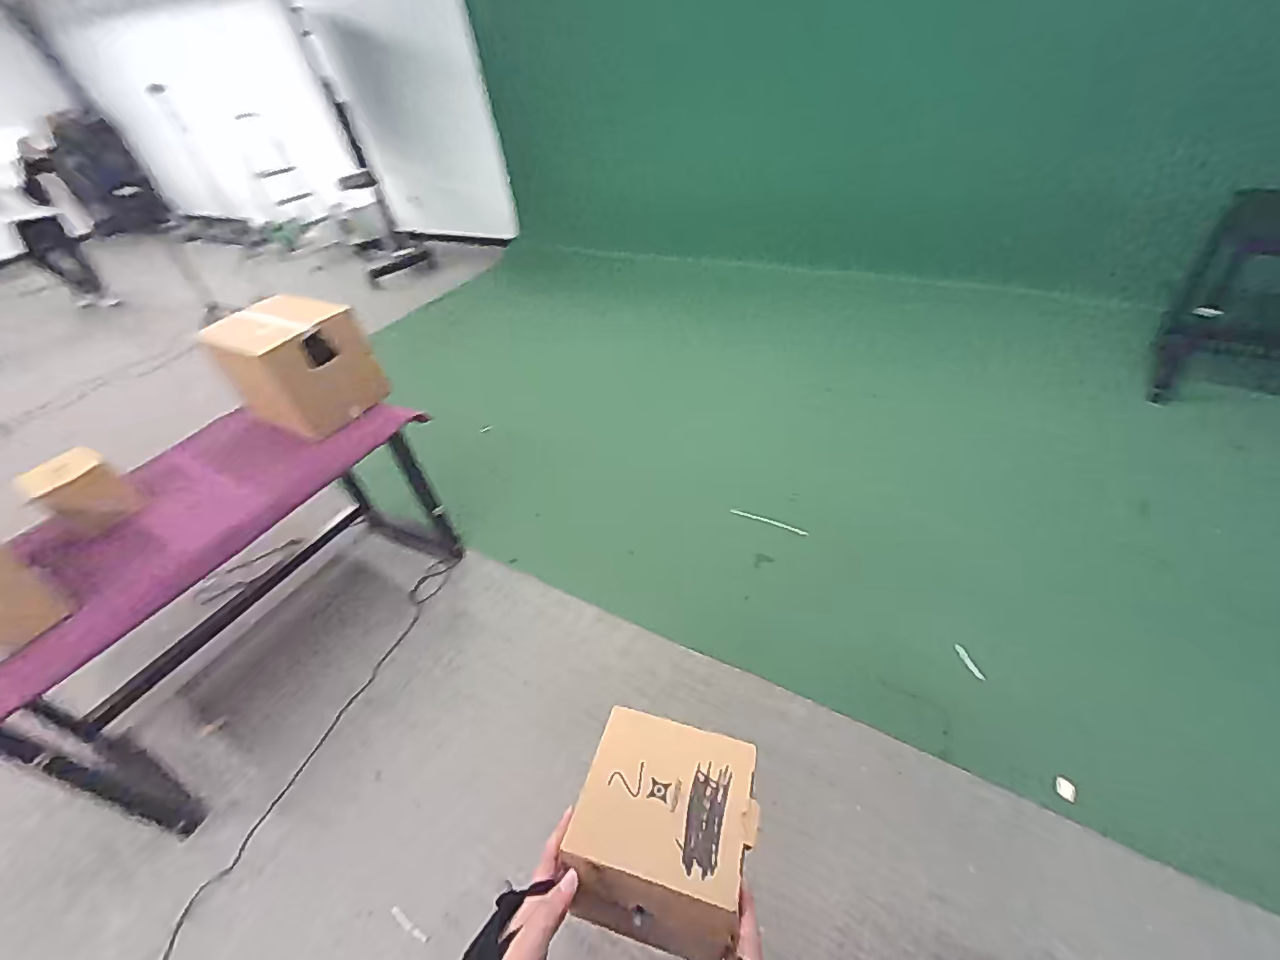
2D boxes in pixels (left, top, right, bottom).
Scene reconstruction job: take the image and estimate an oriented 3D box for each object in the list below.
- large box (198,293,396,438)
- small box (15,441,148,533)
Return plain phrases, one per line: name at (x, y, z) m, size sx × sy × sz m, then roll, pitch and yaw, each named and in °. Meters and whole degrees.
large box at (-1.096, -0.379, 1.759) m, size 0.408 × 0.320 × 0.320 m, roll 18°, pitch 50°, yaw 27°
small box at (-1.531, 0.021, 1.490) m, size 0.179 × 0.176 × 0.168 m, roll 18°, pitch 49°, yaw 27°
